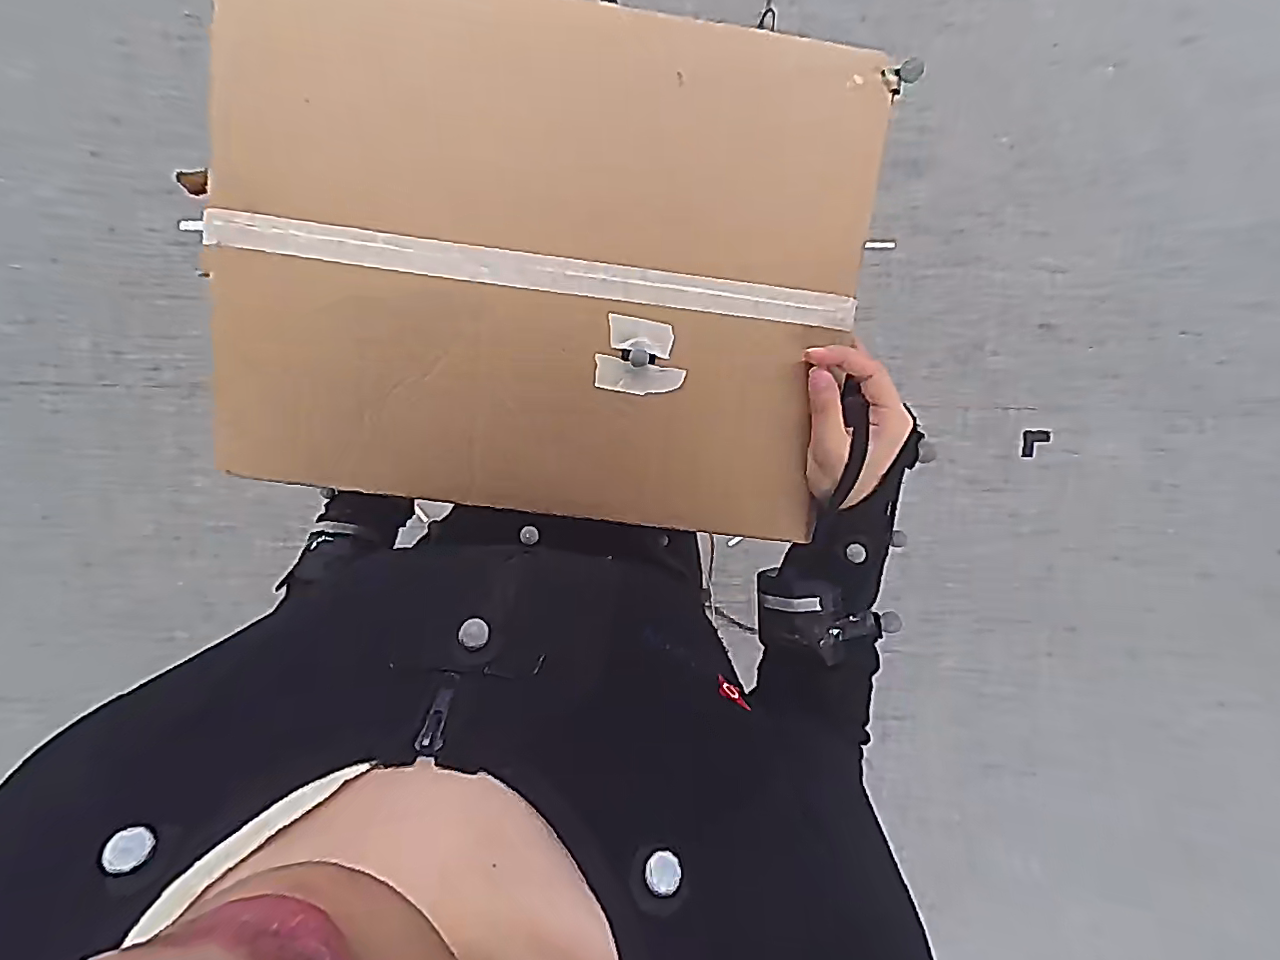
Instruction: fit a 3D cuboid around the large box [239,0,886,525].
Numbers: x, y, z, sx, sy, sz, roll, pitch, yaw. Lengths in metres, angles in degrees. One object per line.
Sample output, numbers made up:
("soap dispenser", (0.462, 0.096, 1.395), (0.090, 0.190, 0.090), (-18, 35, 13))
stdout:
("large box", (-0.064, -0.158, 0.501), (0.408, 0.320, 0.320), (6, 100, -4))
